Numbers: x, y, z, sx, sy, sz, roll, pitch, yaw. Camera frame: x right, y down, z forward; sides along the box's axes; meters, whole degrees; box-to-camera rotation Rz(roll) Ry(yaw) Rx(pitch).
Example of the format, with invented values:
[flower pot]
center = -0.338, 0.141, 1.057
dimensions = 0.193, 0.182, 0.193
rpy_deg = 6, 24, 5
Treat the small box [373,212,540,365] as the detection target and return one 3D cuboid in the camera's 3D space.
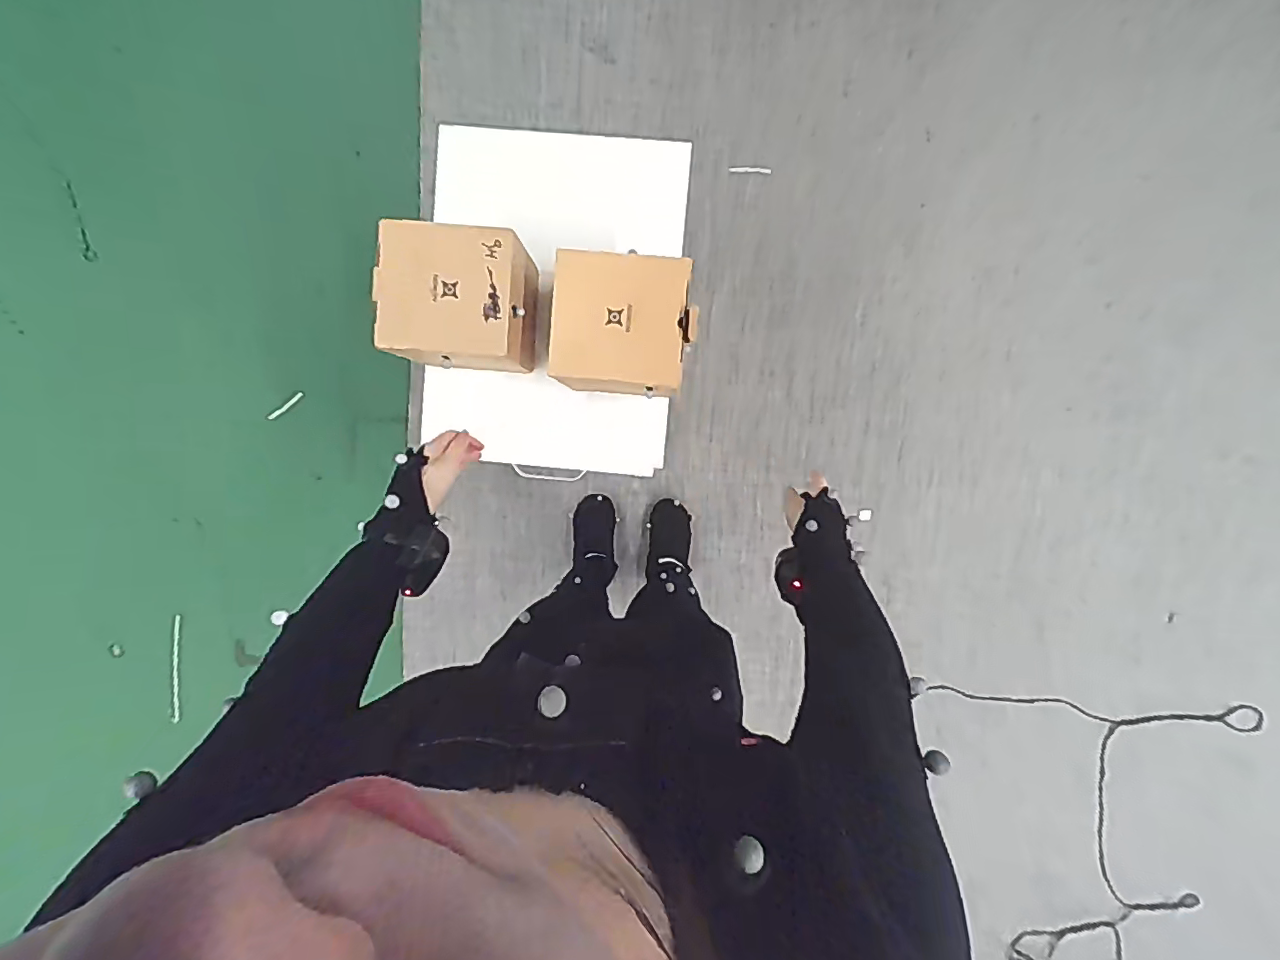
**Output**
[small box]
center = -0.252, -0.262, 0.774
dimensions = 0.179, 0.176, 0.168
rpy_deg = 4, 95, 1
